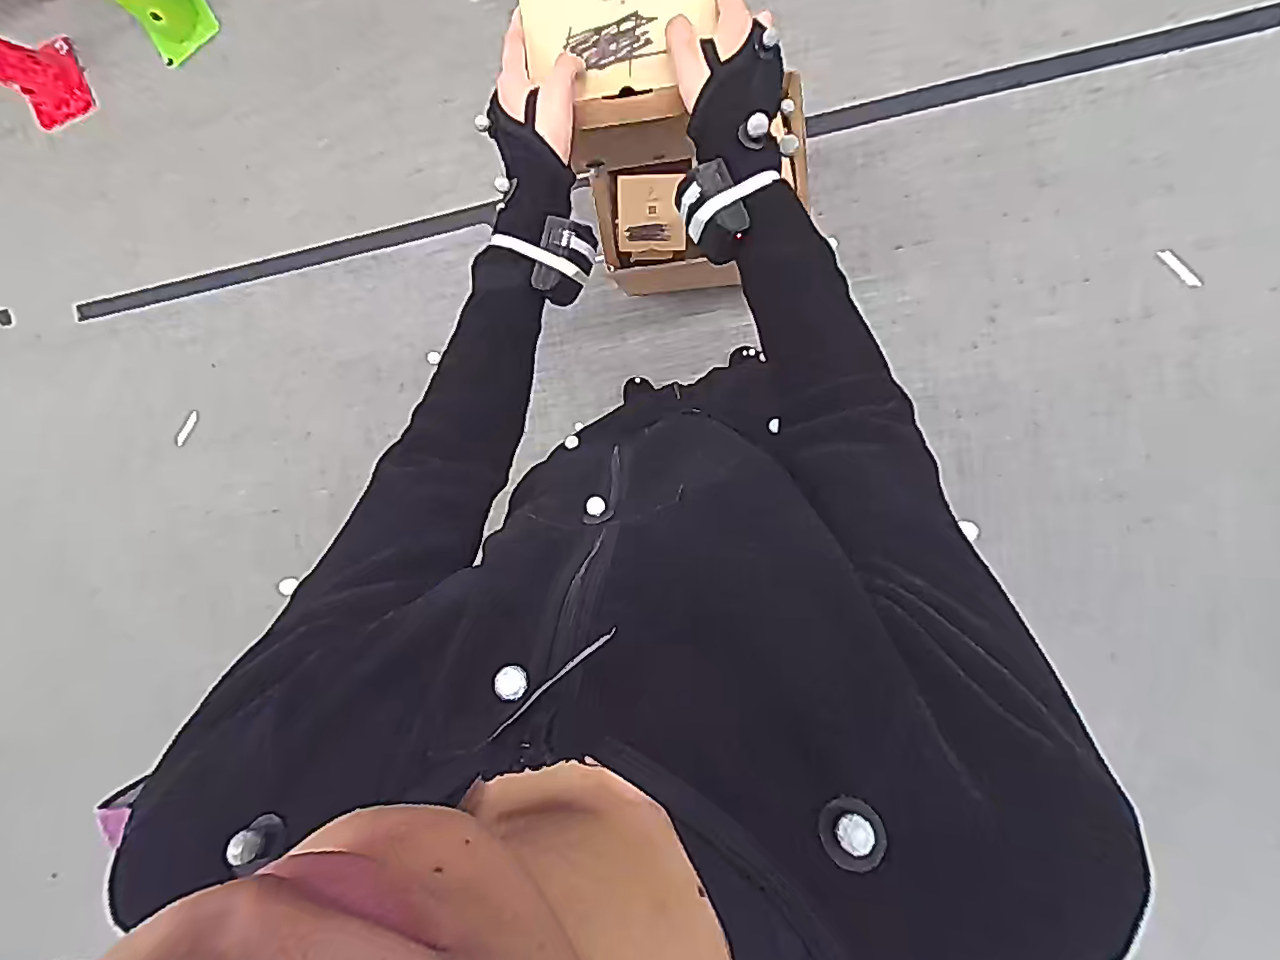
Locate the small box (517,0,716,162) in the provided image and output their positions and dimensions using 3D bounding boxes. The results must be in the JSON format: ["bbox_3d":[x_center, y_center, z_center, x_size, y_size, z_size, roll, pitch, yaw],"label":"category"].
[{"bbox_3d":[-0.017,-0.431,0.522,0.168,0.176,0.179,-6,102,5],"label":"small box"}]
